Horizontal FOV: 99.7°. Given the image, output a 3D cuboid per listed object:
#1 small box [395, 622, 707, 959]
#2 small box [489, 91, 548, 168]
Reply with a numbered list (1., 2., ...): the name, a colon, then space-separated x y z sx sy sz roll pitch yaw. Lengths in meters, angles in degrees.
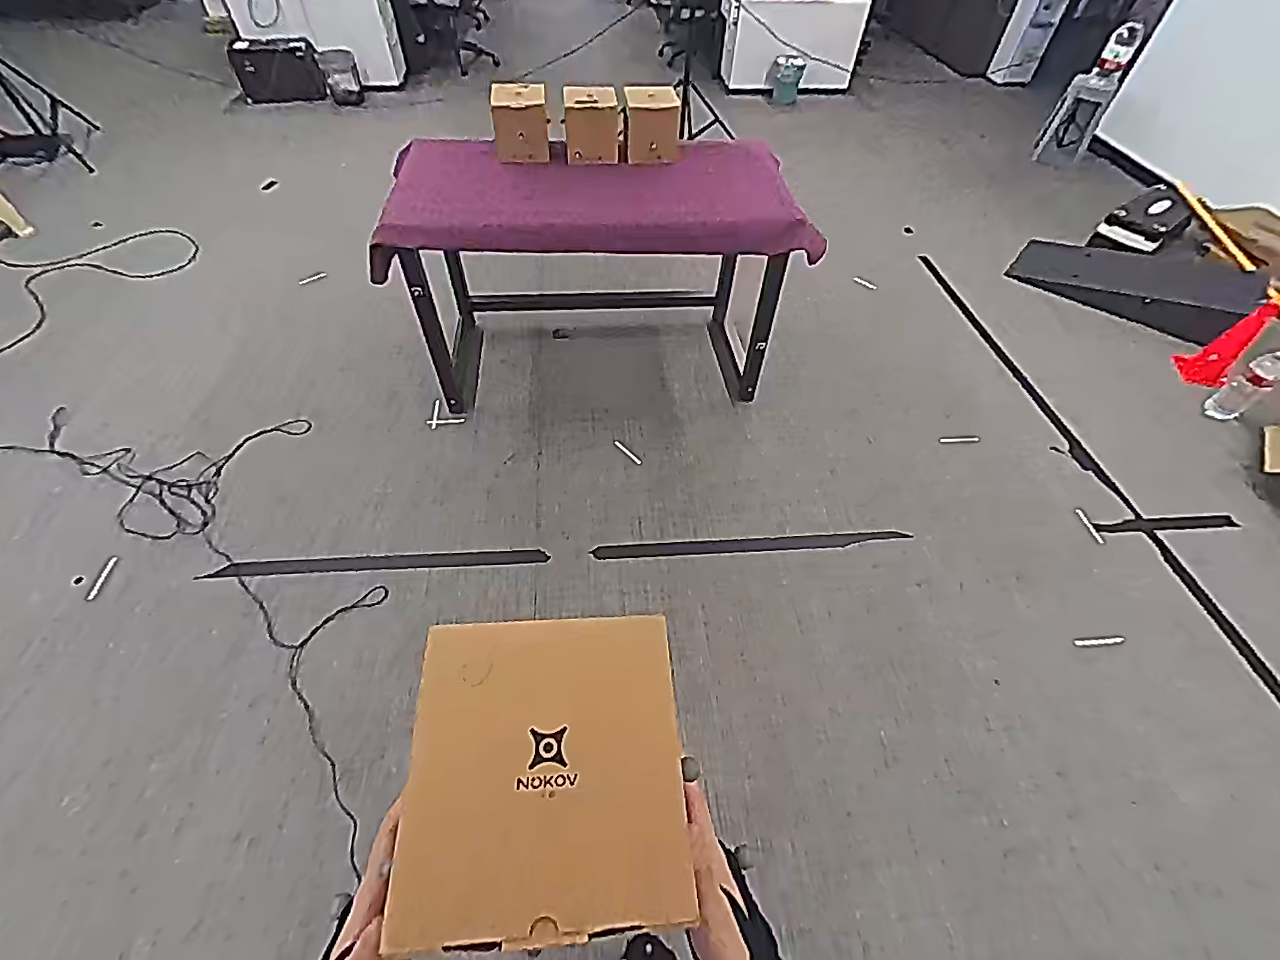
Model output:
1. small box: -0.058 0.220 0.396 0.168 0.176 0.179 -1 54 -7
2. small box: -0.390 -1.139 1.761 0.168 0.176 0.179 -4 54 -6
